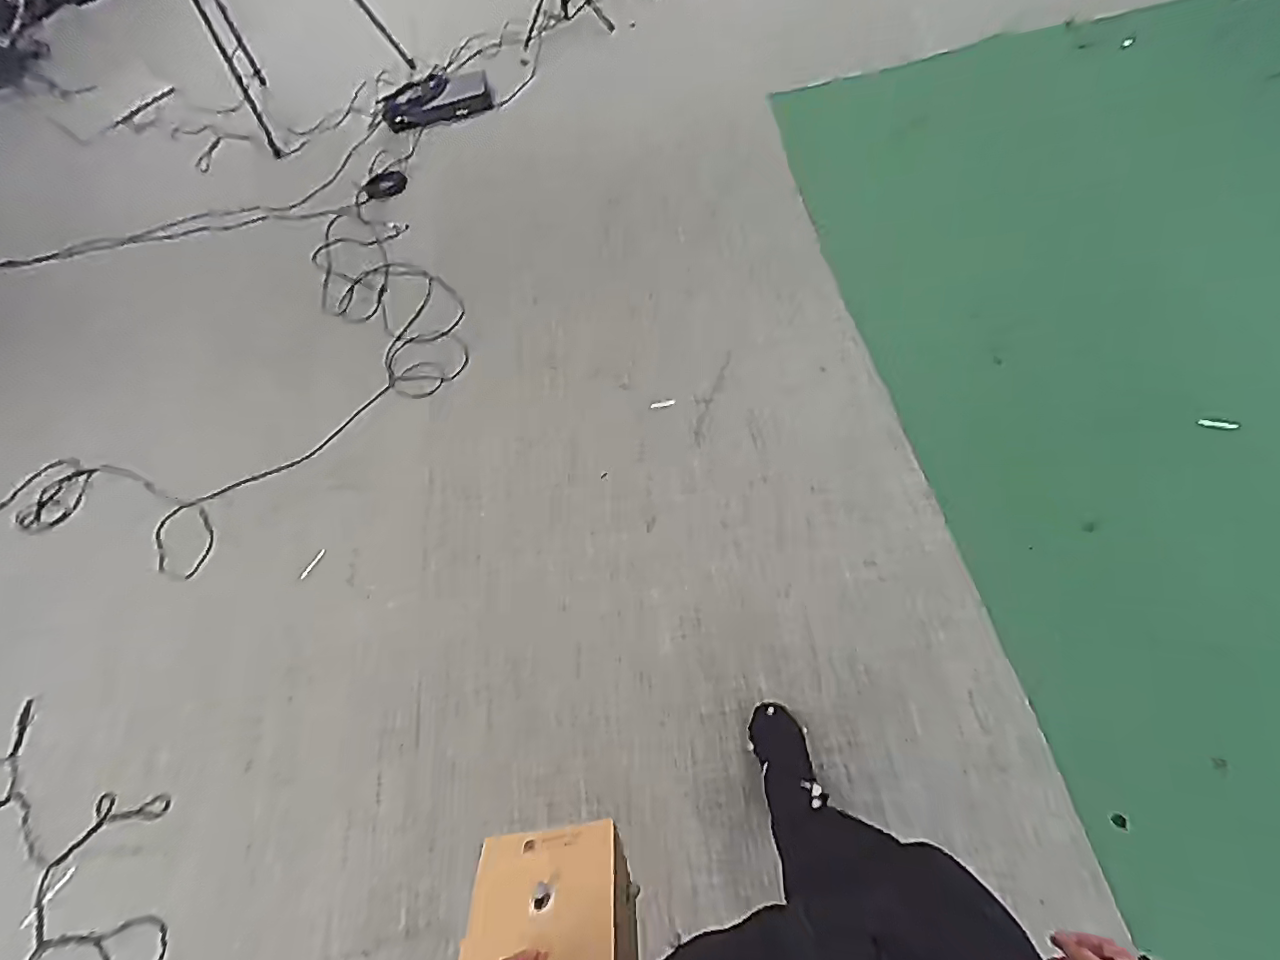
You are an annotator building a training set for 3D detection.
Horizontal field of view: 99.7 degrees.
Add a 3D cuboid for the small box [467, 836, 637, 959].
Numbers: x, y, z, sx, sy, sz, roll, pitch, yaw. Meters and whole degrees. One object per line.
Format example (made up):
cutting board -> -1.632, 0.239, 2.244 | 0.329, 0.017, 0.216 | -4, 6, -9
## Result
small box -> -0.096, 0.545, 0.627 | 0.168, 0.179, 0.176 | -10, 25, 0
